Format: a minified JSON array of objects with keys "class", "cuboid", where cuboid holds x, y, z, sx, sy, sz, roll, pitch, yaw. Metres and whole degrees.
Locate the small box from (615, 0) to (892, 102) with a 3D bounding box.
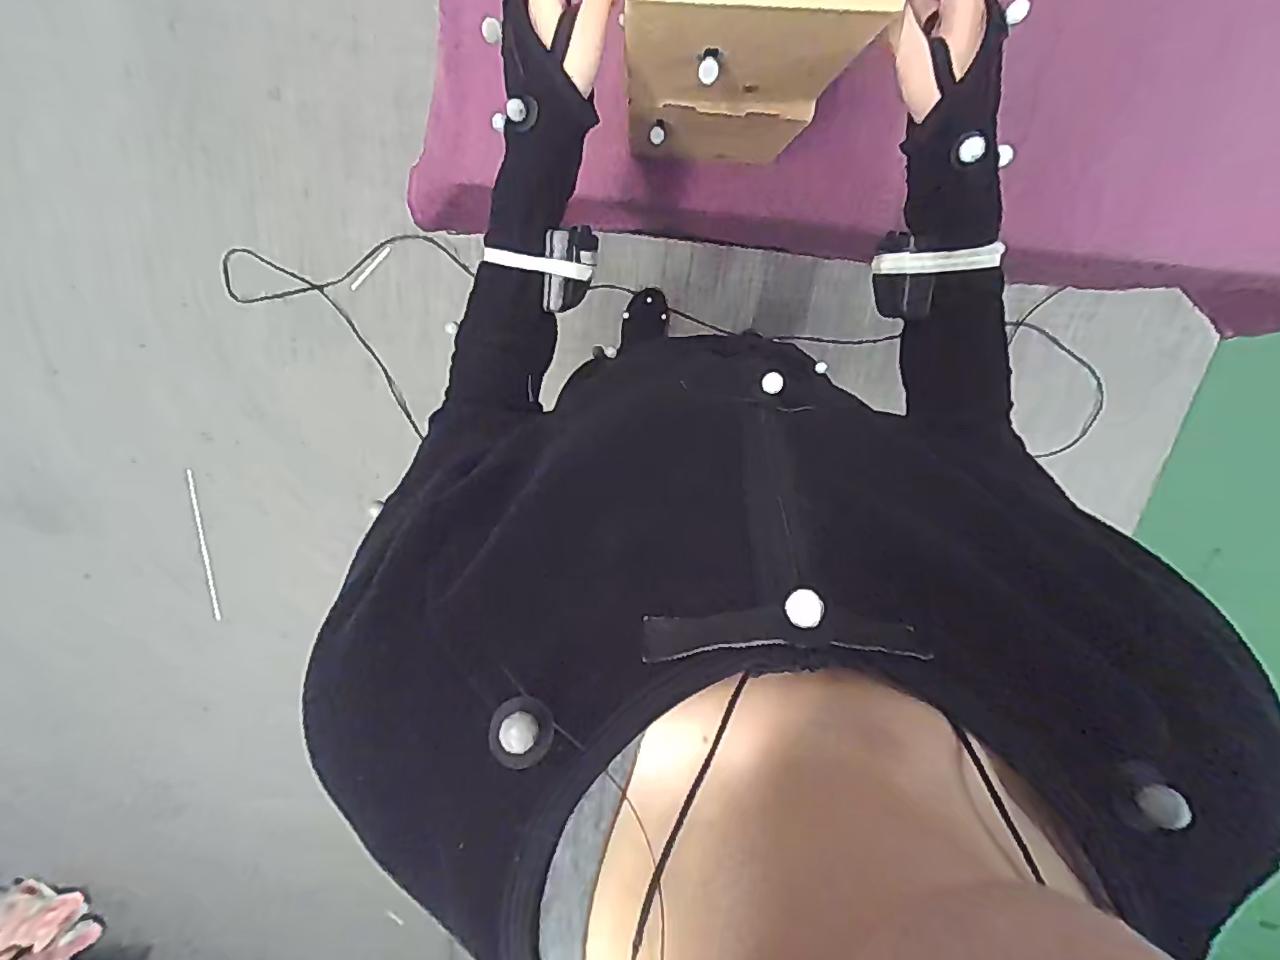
[{"class":"small box","cuboid":[0.070,-0.381,0.363,0.168,0.176,0.179,1,108,-1]}]
